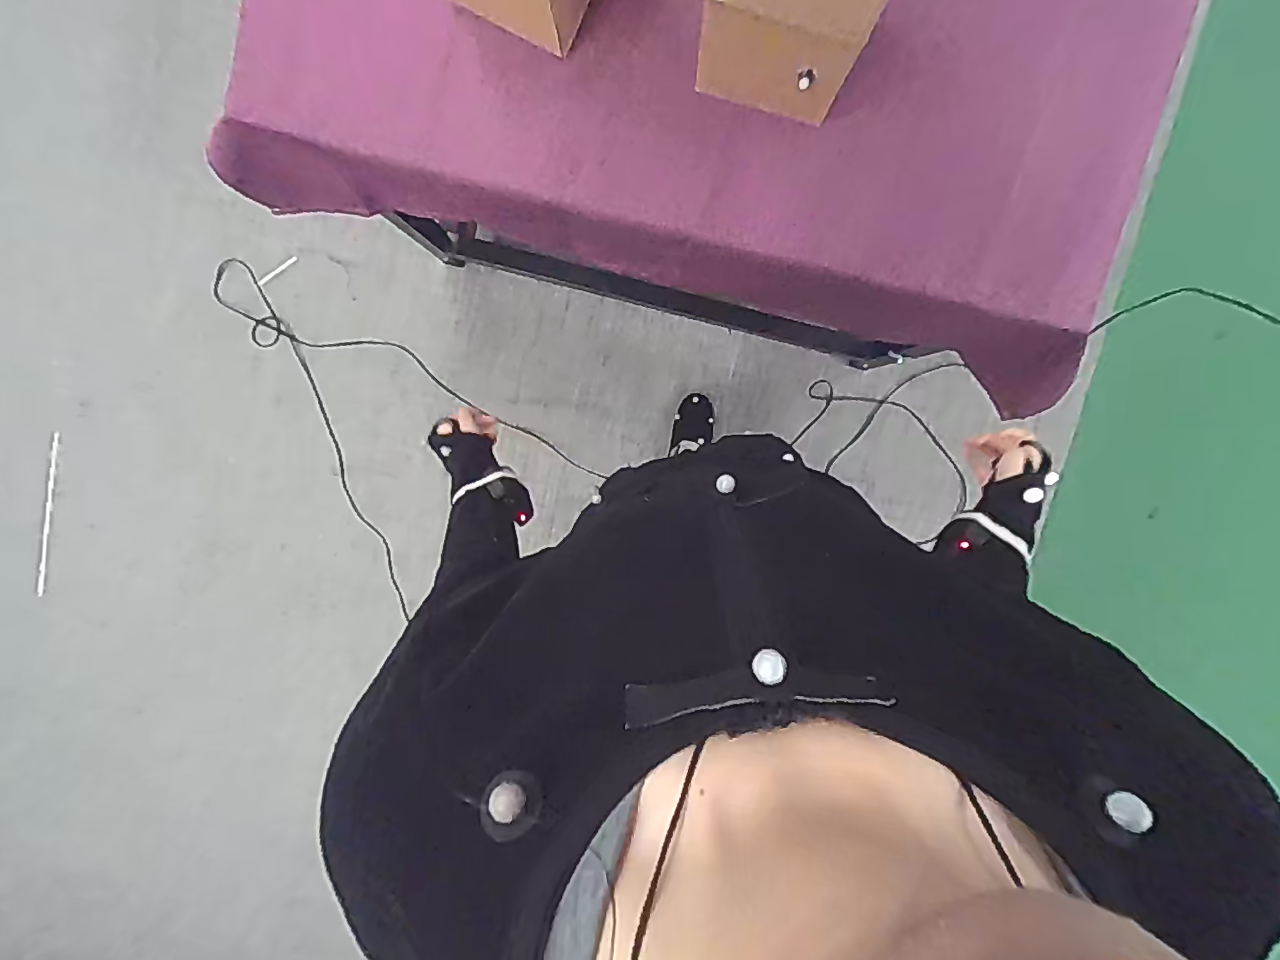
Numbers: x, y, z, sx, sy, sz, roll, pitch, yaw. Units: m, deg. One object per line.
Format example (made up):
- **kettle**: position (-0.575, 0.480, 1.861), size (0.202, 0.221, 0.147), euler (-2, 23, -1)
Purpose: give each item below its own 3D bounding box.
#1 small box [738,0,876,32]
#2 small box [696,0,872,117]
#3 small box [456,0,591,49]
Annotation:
- **small box**: position (0.166, -0.548, 0.472), size (0.179, 0.176, 0.168), euler (18, 95, 0)
- **small box**: position (0.174, -0.569, 0.634), size (0.179, 0.176, 0.168), euler (16, 94, 0)
- **small box**: position (-0.144, -0.665, 0.633), size (0.179, 0.176, 0.168), euler (25, 95, -1)
